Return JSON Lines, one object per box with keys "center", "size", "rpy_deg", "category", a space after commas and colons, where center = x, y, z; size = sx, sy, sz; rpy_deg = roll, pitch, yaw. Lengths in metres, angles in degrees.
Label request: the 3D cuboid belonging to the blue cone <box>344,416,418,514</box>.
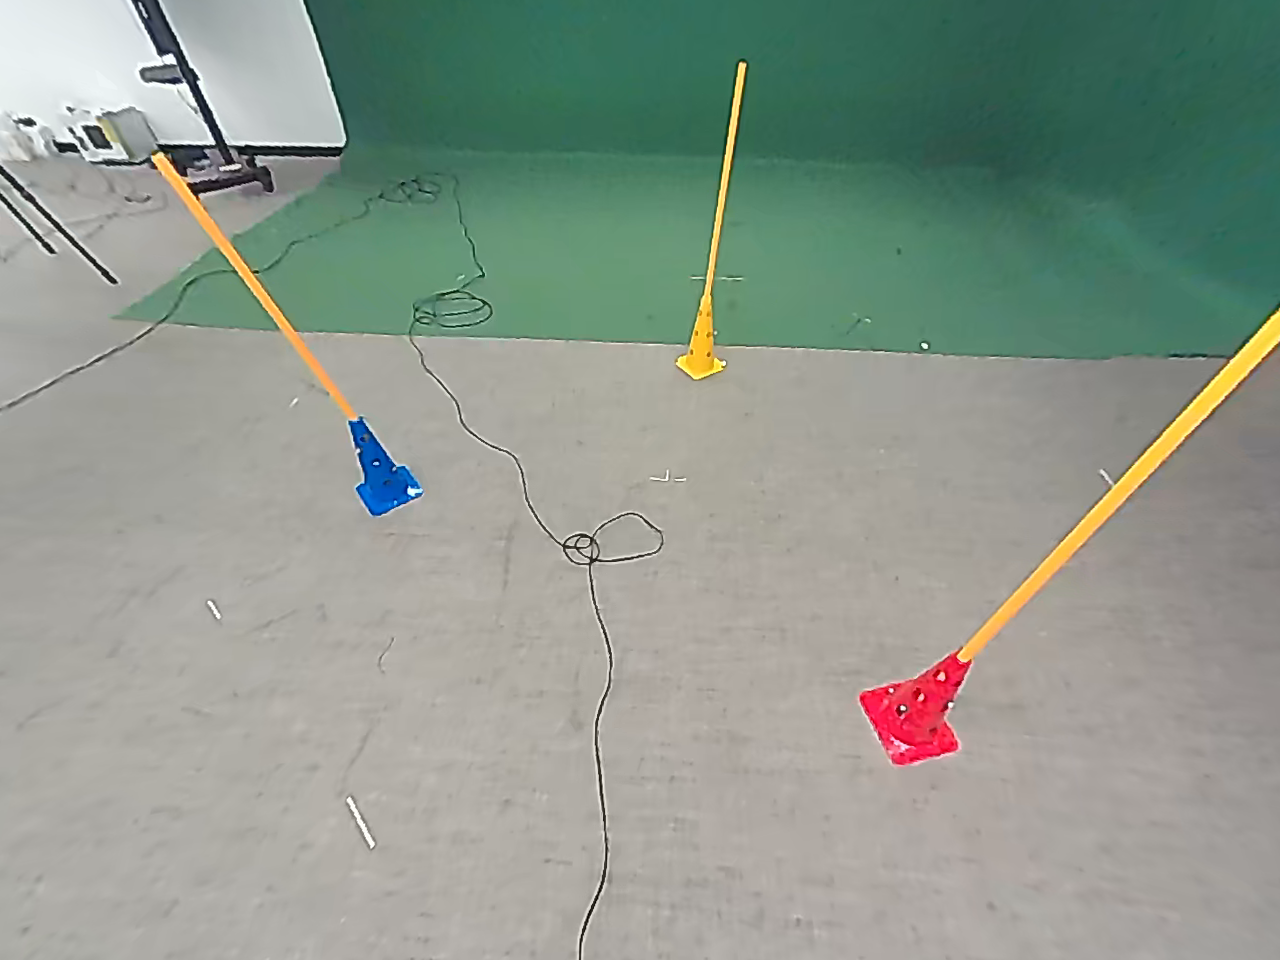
{"center": [-0.957, -0.071, 1.927], "size": [0.193, 0.380, 0.192], "rpy_deg": [-33, 55, -26], "category": "blue cone"}
